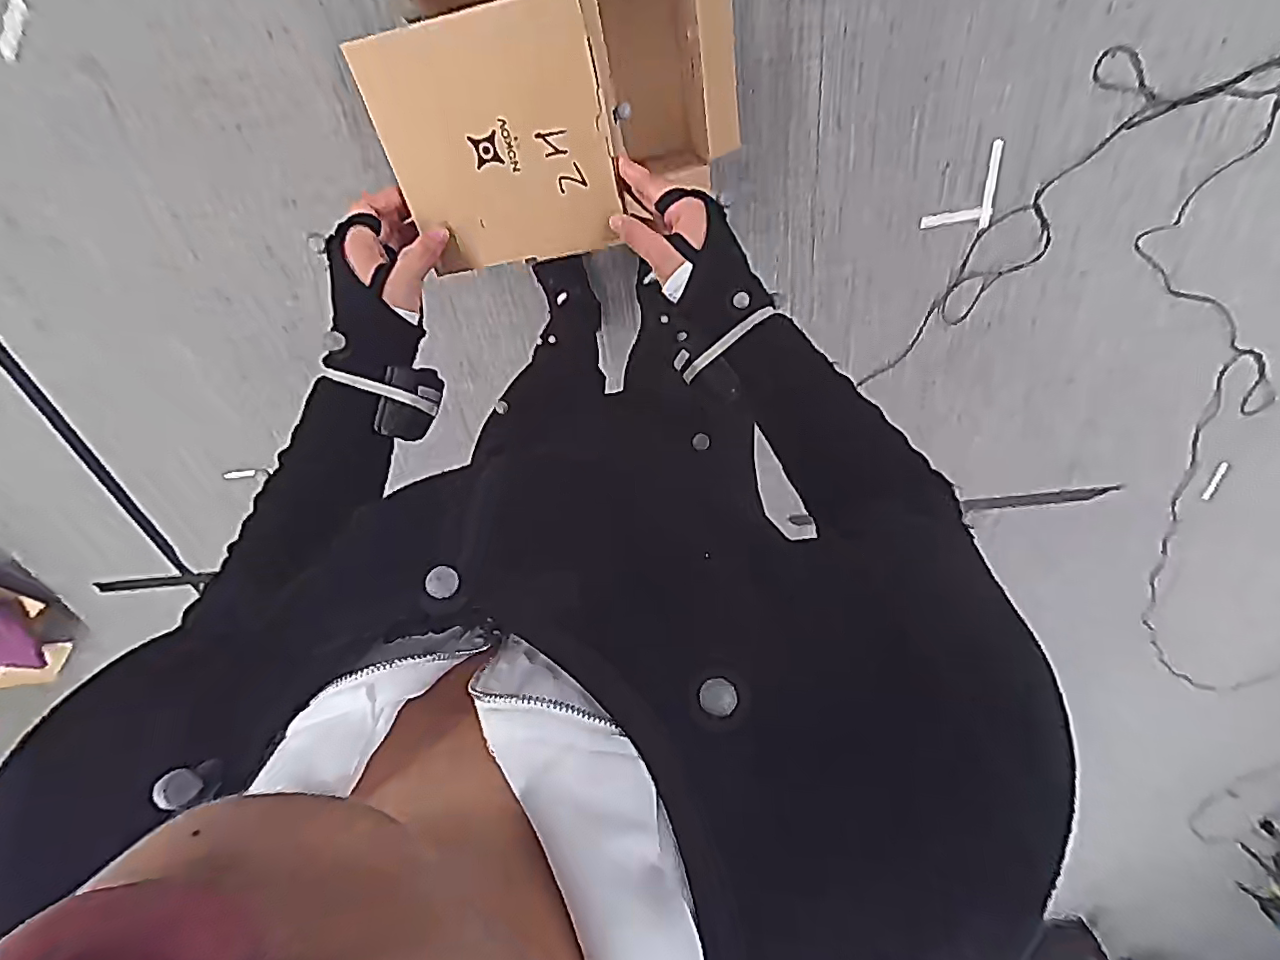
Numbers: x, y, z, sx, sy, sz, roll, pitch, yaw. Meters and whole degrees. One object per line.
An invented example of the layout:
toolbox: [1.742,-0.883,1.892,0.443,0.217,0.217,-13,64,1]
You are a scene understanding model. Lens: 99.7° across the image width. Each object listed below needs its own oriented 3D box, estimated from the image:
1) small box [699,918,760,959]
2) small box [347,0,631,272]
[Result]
small box: [0.287,1.511,1.702,0.179,0.176,0.168,-6,125,2]
small box: [-0.108,-0.304,0.479,0.179,0.176,0.168,-8,128,6]
